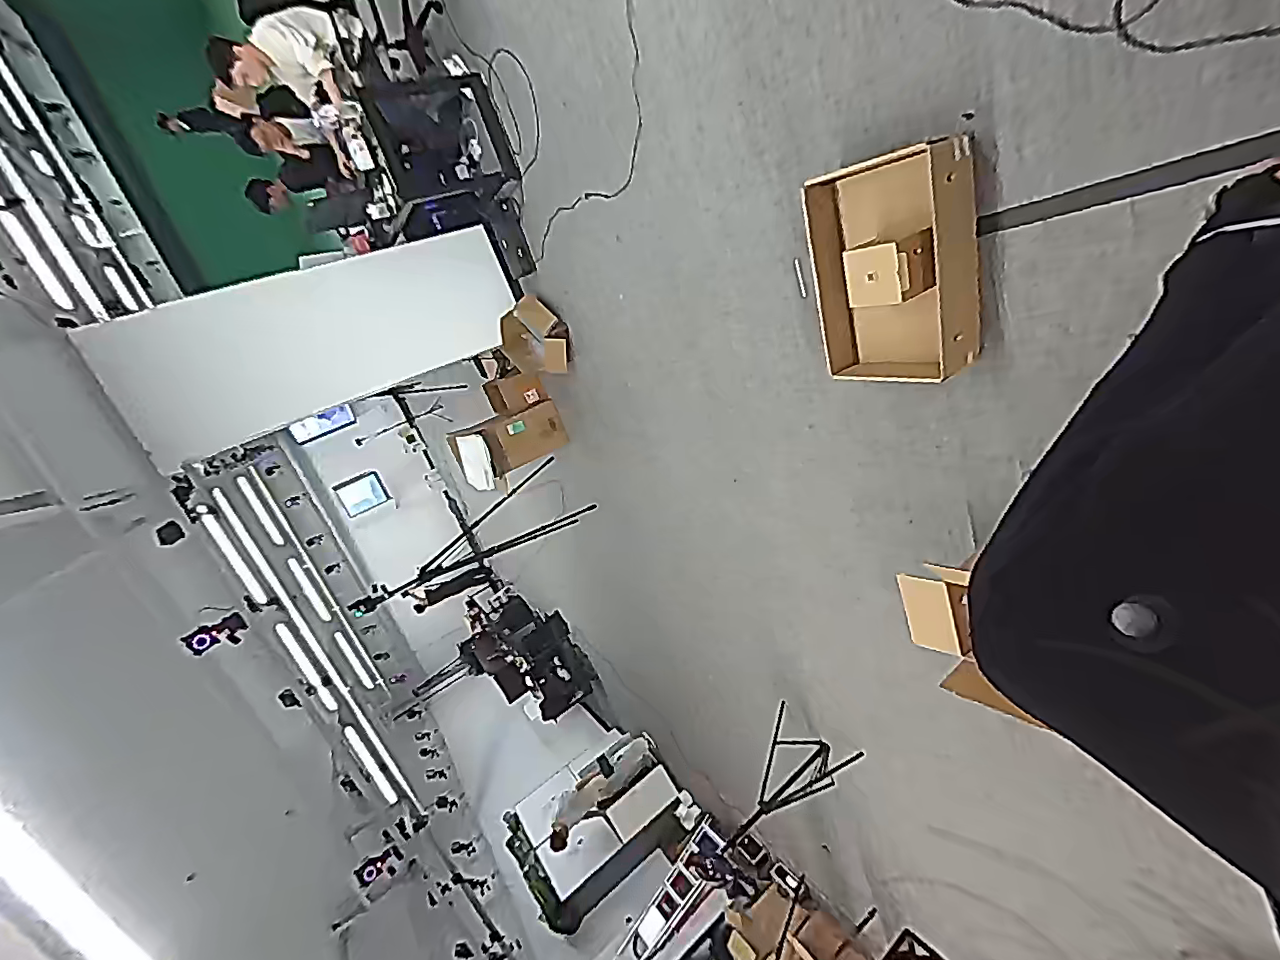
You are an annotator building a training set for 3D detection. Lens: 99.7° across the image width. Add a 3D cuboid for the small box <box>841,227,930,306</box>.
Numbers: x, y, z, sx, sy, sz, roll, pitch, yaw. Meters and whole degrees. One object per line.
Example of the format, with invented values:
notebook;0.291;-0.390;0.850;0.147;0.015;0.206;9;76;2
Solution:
small box;0.717;-0.616;1.565;0.179;0.176;0.168;19;132;55
